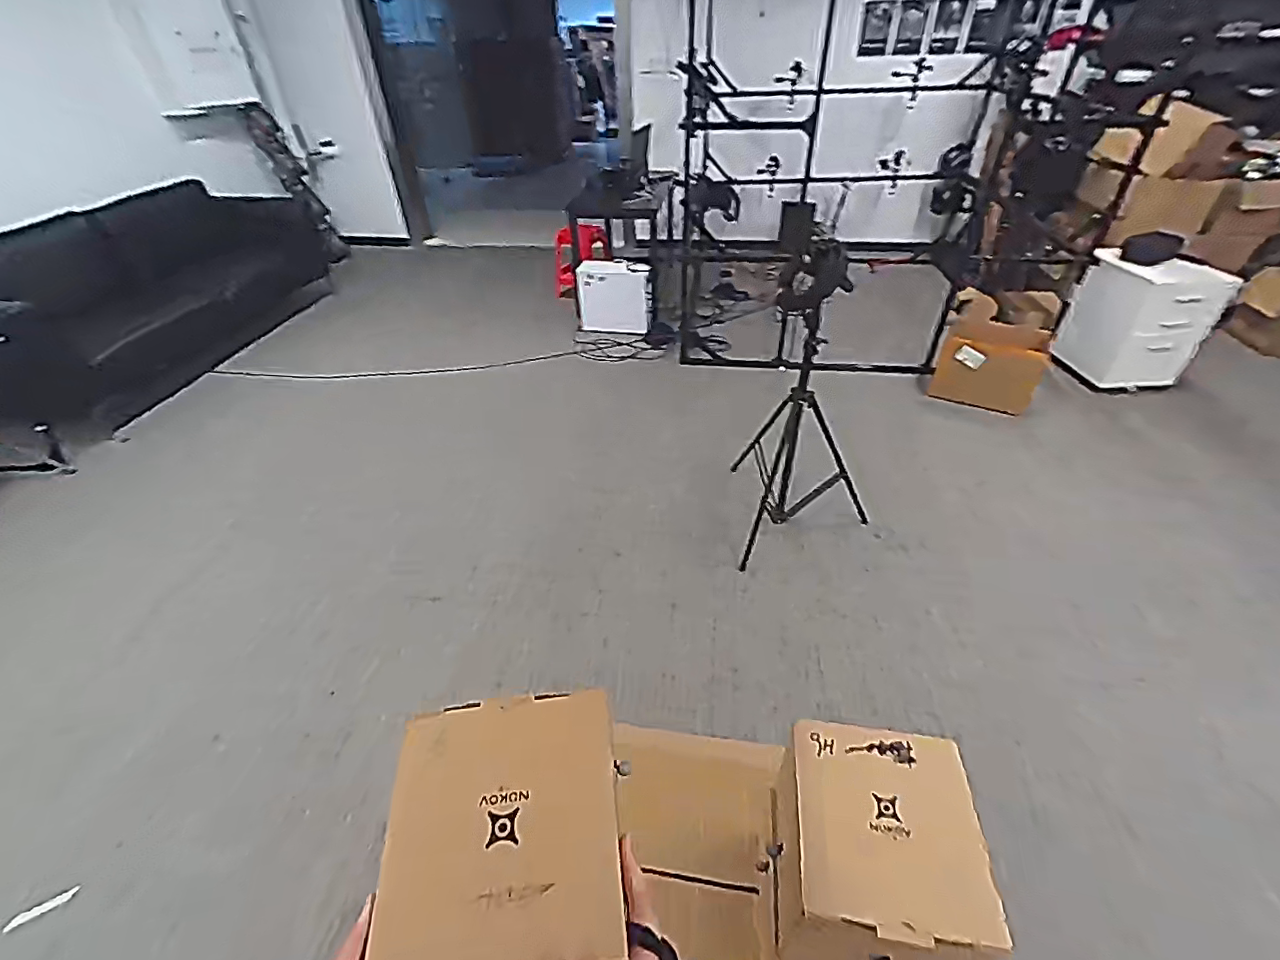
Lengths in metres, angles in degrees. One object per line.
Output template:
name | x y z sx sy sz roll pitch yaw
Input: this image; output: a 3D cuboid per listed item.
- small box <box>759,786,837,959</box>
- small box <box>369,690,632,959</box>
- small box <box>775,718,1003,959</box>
small box | 0.237 0.511 0.660 0.168 0.176 0.179 3 39 9
small box | -0.098 0.301 0.449 0.168 0.176 0.179 -6 47 -5
small box | 0.234 0.381 0.561 0.168 0.176 0.179 4 40 10
